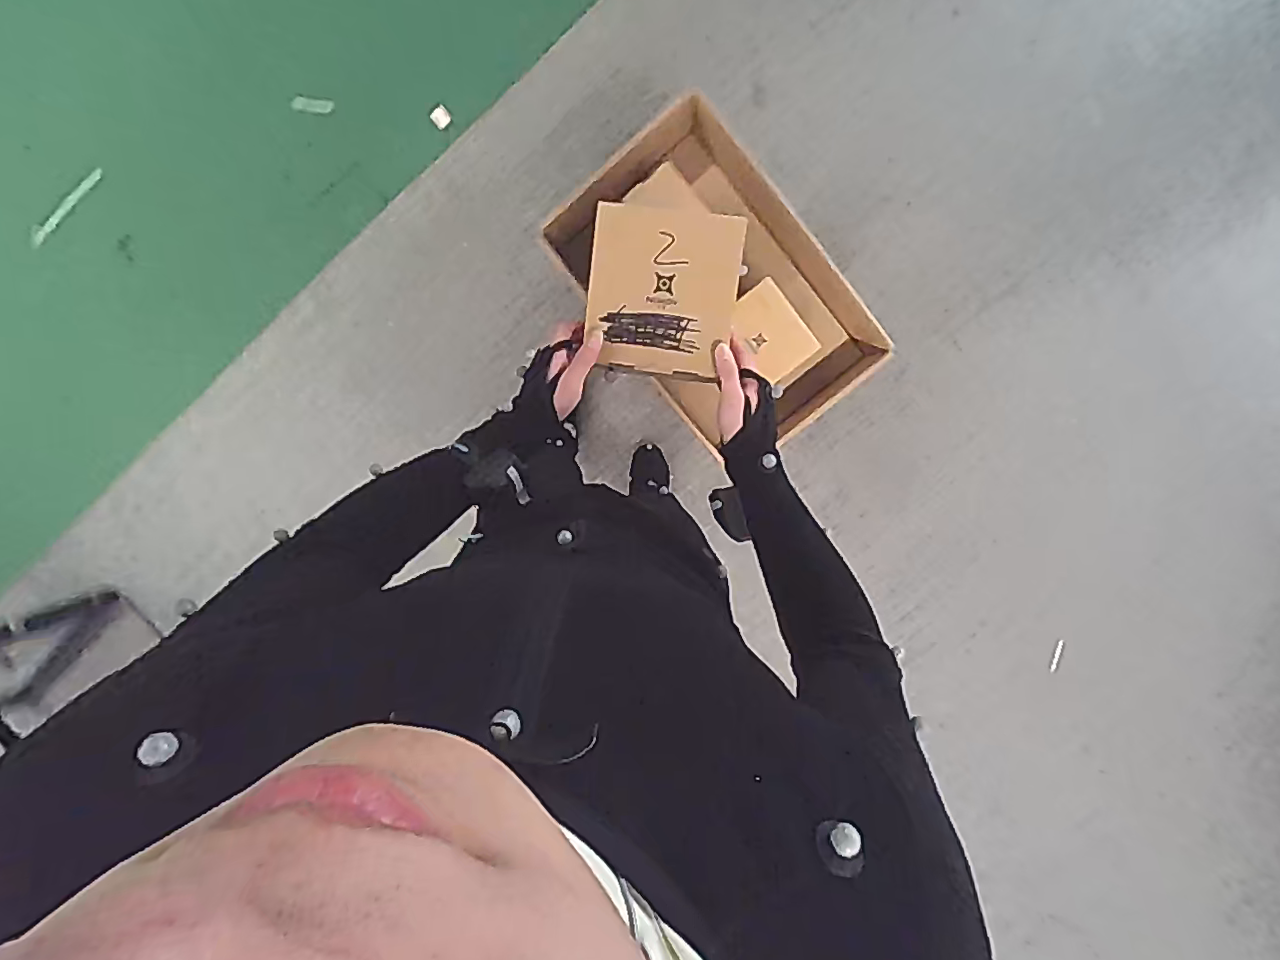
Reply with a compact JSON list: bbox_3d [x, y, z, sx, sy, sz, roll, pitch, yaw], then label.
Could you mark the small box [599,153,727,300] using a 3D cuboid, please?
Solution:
[{"bbox_3d":[0.043,-0.476,1.051,0.168,0.176,0.179,-40,96,8],"label":"small box"}]
